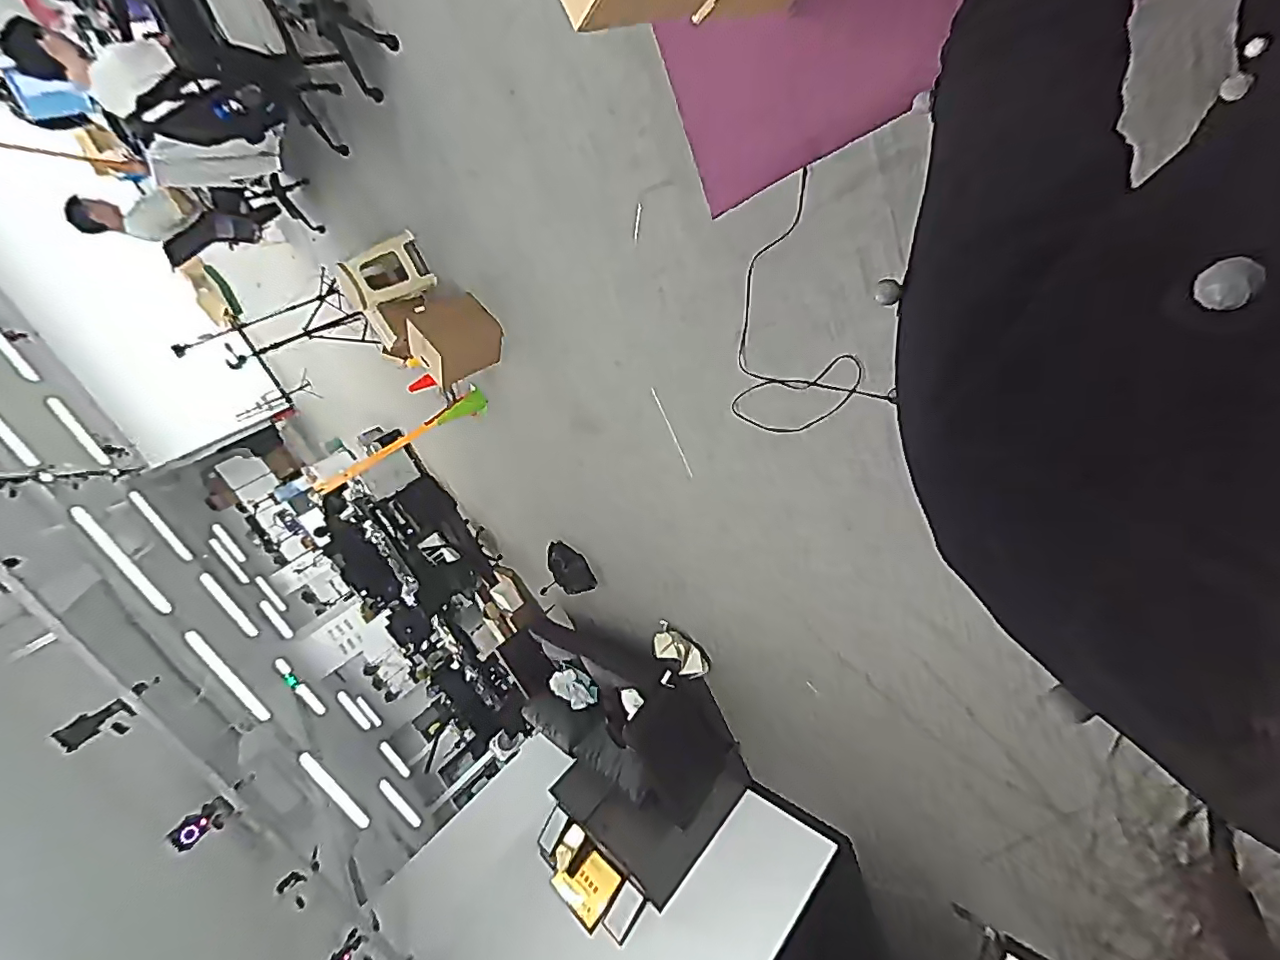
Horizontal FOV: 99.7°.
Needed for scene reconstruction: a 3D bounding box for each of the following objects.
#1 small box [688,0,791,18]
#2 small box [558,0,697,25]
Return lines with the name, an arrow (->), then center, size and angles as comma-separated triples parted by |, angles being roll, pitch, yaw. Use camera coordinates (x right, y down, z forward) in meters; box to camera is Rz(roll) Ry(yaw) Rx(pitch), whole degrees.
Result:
small box -> 0.122, -0.605, 0.526 | 0.168, 0.176, 0.179 | -4, 118, 56
small box -> 0.009, -0.520, 0.435 | 0.179, 0.176, 0.168 | -2, 118, 54
